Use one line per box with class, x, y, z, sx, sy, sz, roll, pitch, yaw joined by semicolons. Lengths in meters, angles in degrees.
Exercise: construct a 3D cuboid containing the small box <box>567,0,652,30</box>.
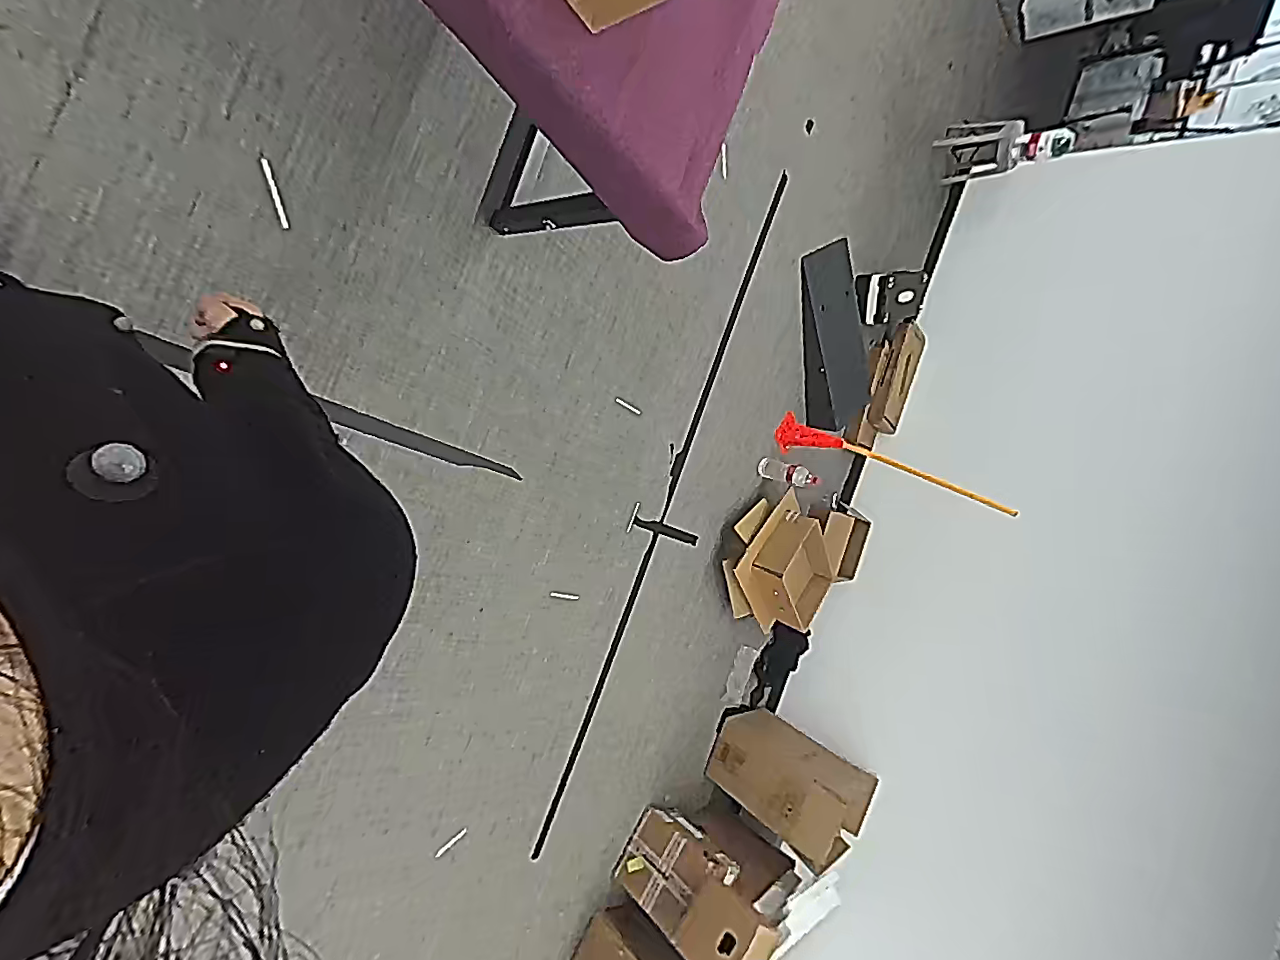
small box;-0.041;-0.793;0.758;0.168;0.176;0.179;23;86;-49
